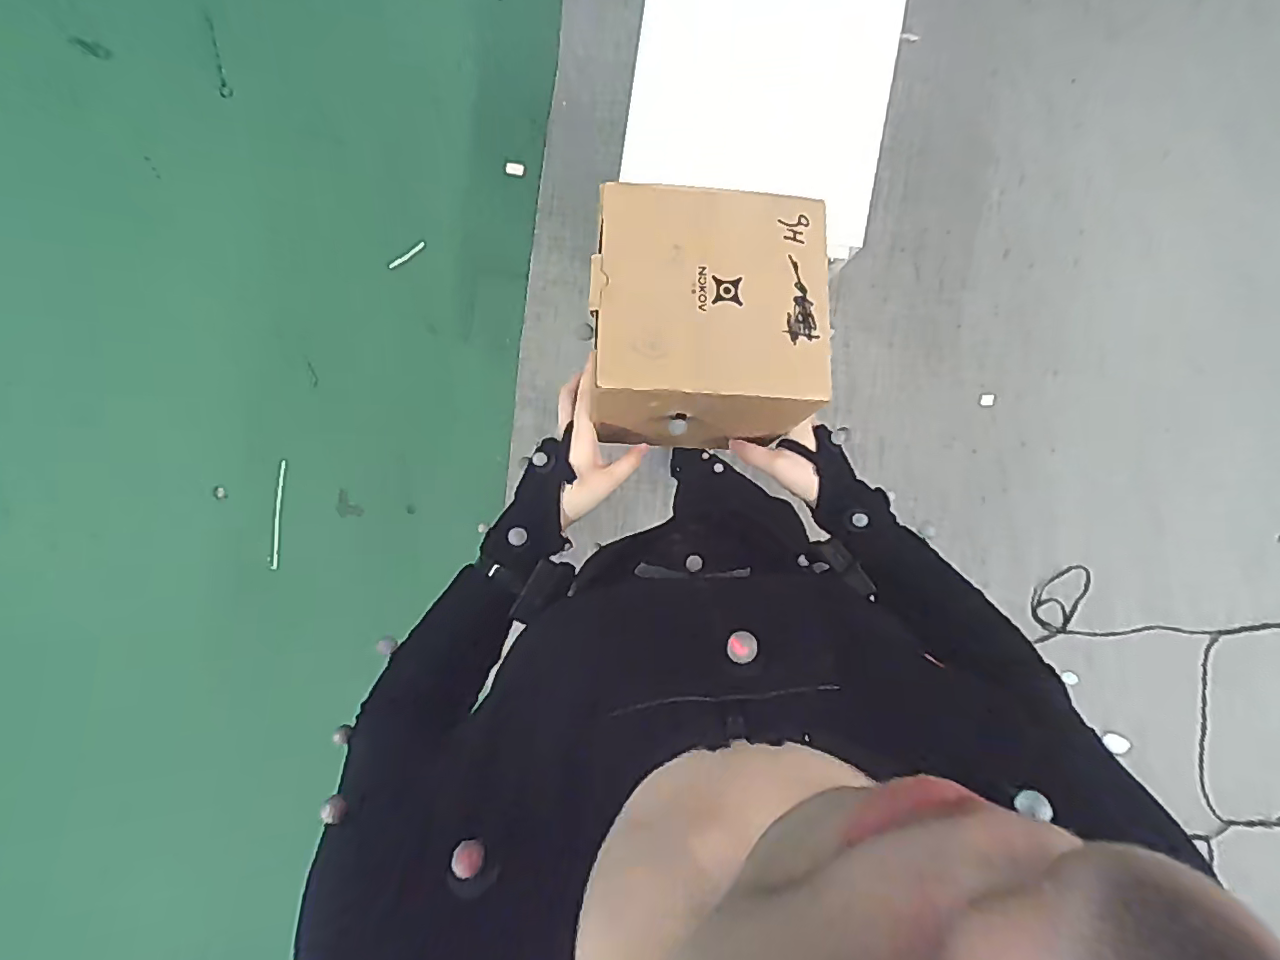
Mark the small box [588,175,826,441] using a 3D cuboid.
[{"bbox_3d":[0.047,-0.135,0.481,0.179,0.176,0.168,3,81,-4],"label":"small box"}]
